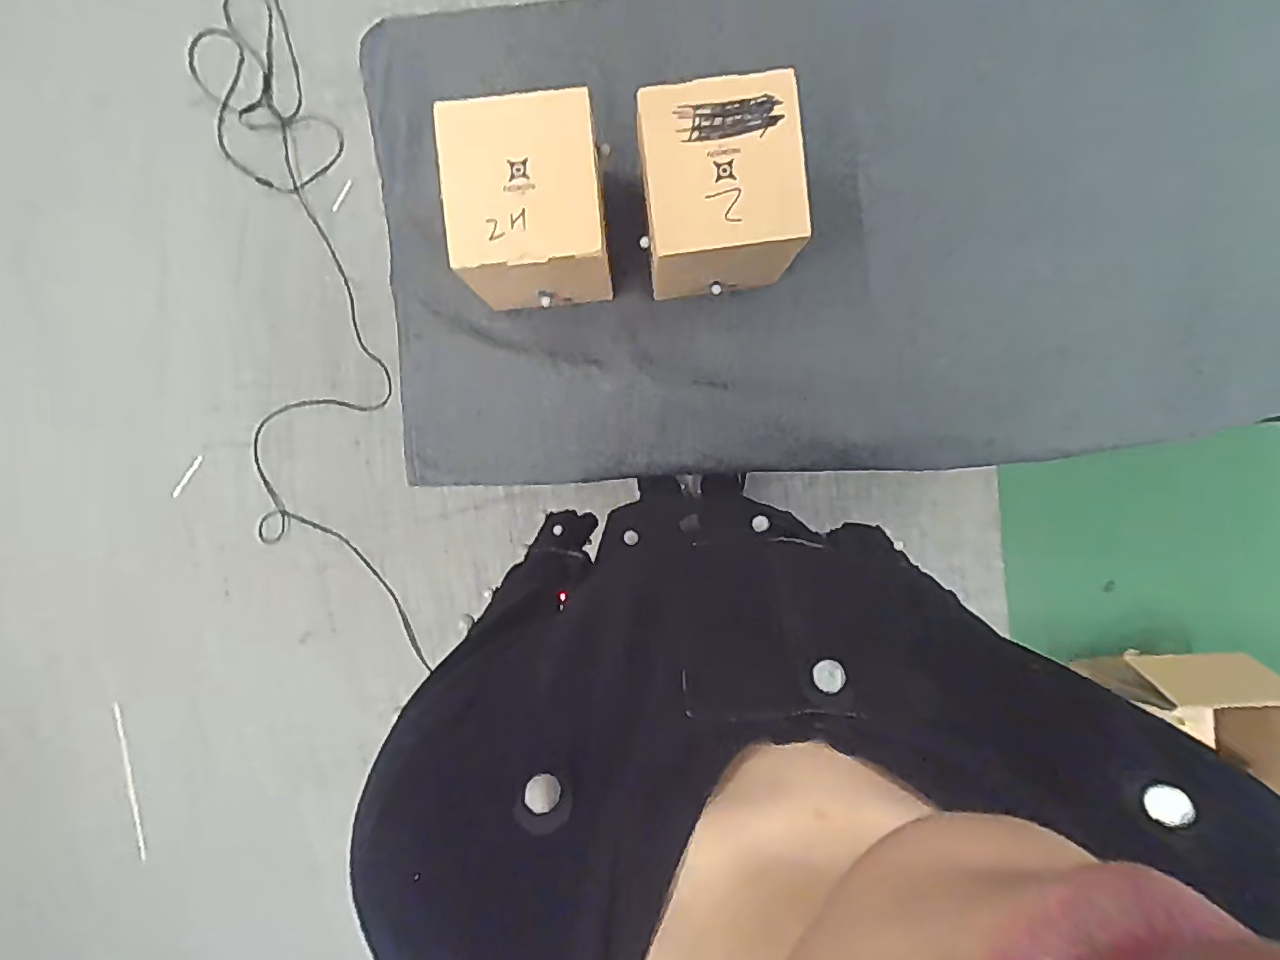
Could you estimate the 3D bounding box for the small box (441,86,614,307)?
[{"bbox_3d":[-0.122,-0.324,0.650,0.168,0.176,0.179,-5,92,1],"label":"small box"}]
